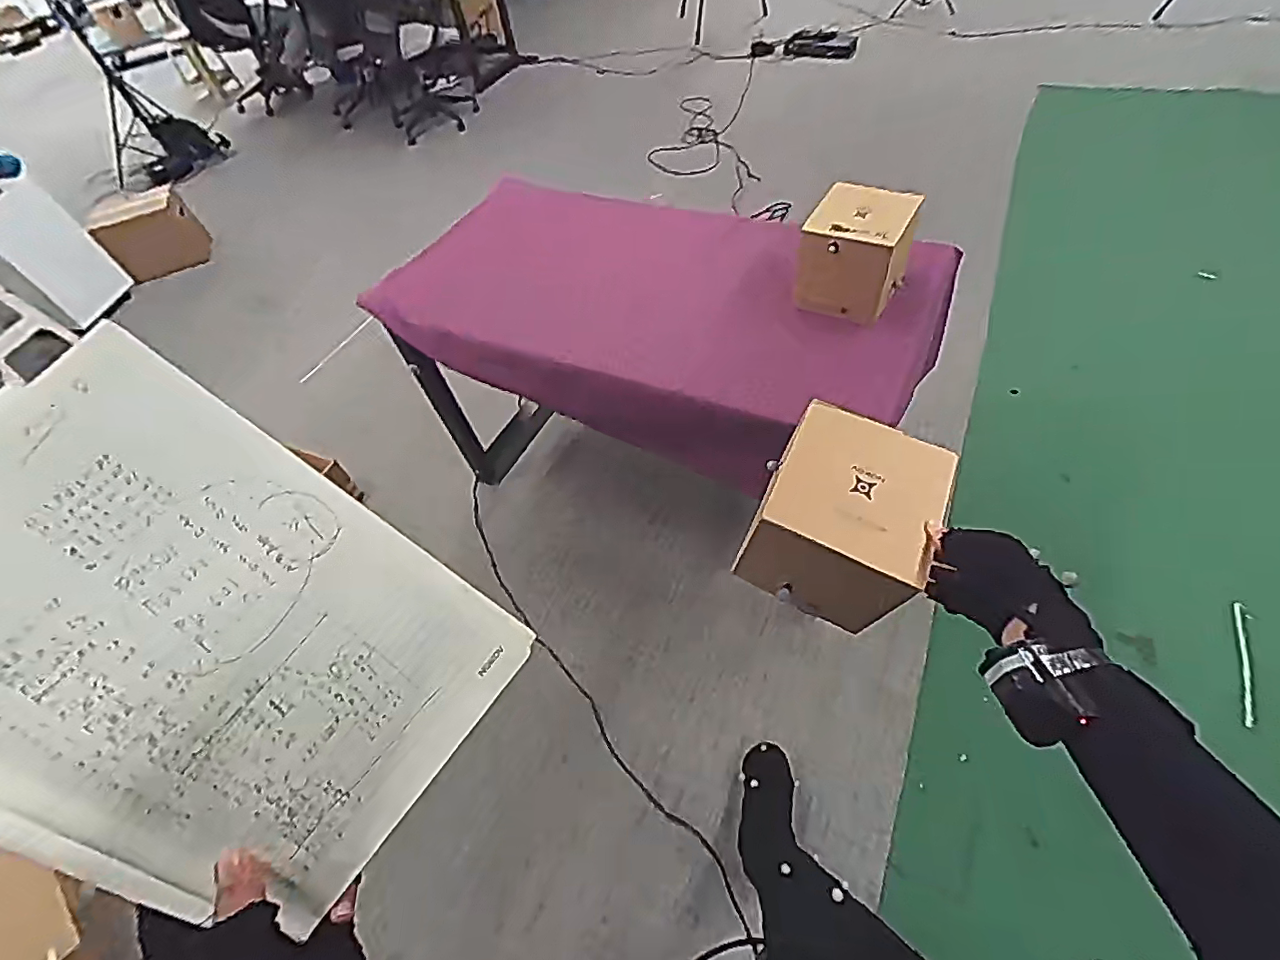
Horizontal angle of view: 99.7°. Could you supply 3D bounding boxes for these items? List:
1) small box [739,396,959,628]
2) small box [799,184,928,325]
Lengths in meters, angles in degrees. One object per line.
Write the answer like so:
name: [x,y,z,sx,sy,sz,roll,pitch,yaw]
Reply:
small box: [0.229,0.042,0.627,0.168,0.176,0.179,25,62,11]
small box: [0.414,-0.428,1.027,0.168,0.176,0.179,24,60,24]
